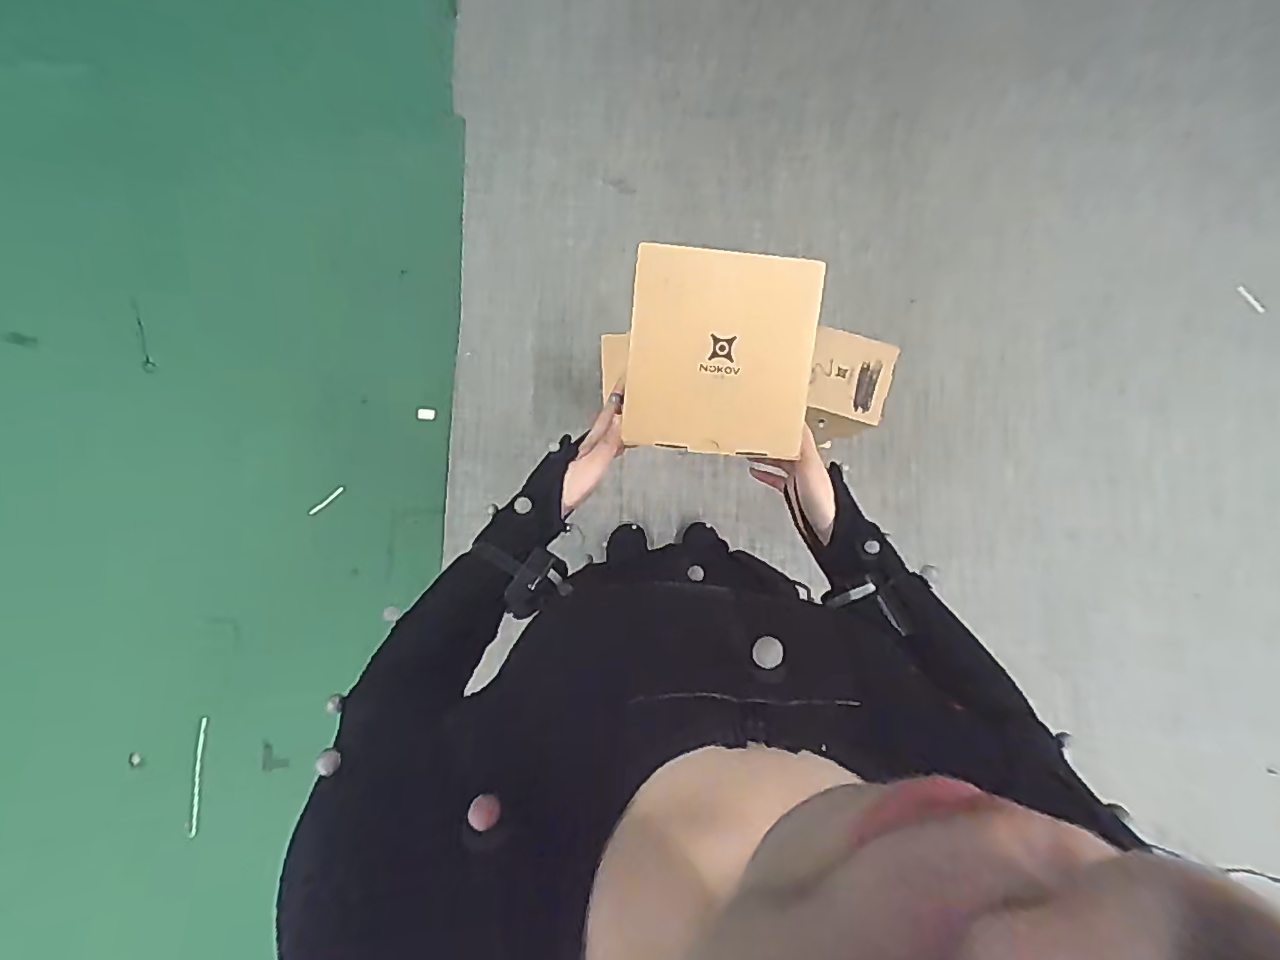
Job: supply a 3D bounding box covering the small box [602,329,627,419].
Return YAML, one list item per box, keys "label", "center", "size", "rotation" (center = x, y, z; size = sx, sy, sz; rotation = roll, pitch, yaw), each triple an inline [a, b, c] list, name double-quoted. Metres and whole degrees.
- label: "small box"
  center: [-0.003, -0.249, 1.290]
  size: [0.168, 0.176, 0.179]
  rotation: [-3, 86, 1]

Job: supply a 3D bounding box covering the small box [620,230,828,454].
- label: "small box"
  center: [0.068, -0.126, 0.543]
  size: [0.168, 0.176, 0.179]
  rotation: [5, 98, -3]

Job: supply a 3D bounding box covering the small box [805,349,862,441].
- label: "small box"
  center: [0.397, -0.200, 1.283]
  size: [0.168, 0.176, 0.179]
  rotation: [15, 86, 2]

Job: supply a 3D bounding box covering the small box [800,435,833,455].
- label: "small box"
  center: [0.417, -0.174, 1.444]
  size: [0.168, 0.176, 0.179]
  rotation: [11, 86, 2]
